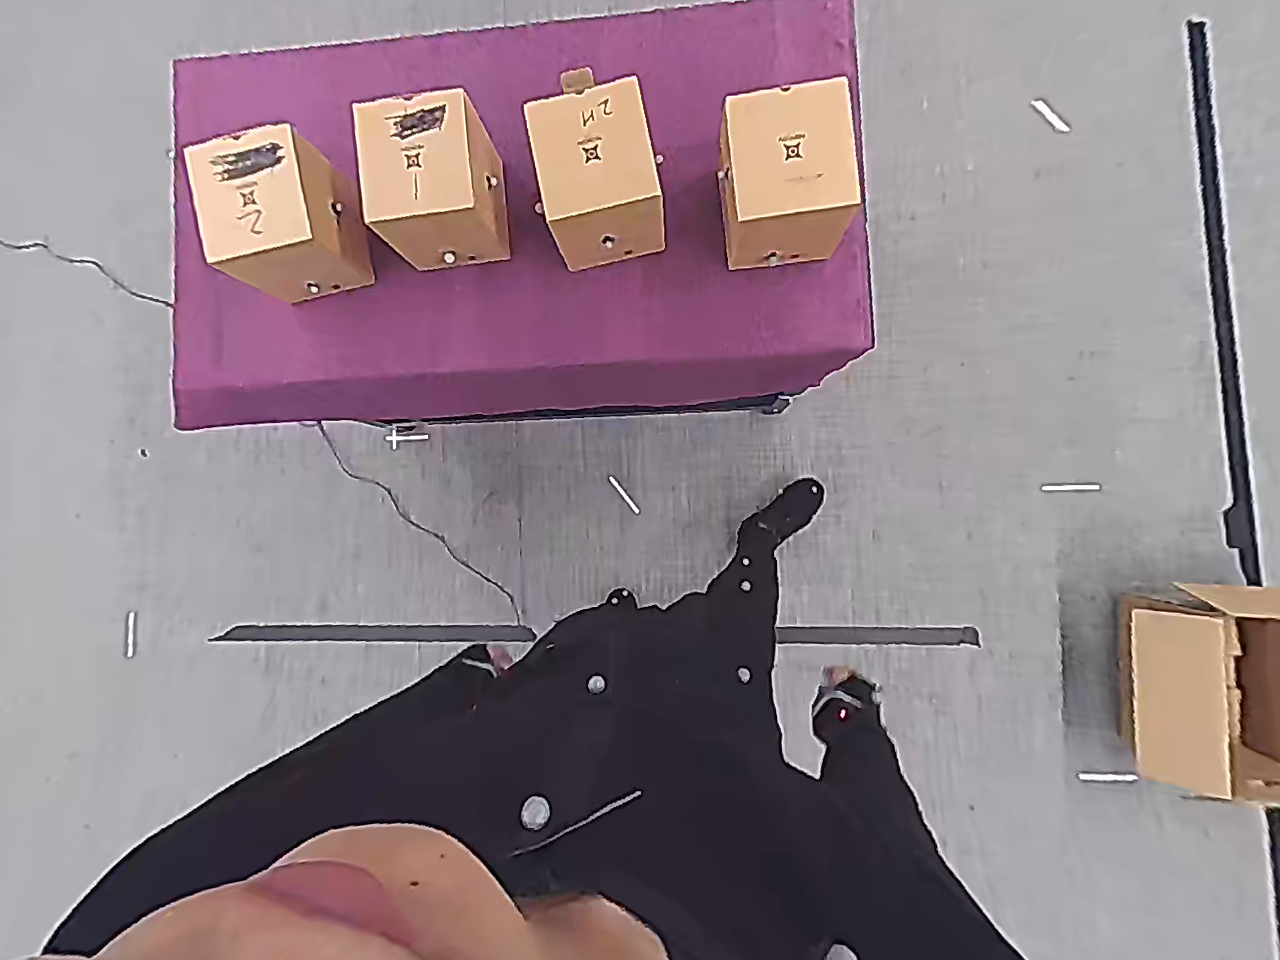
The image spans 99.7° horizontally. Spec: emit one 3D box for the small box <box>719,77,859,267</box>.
[{"bbox_3d":[0.211,-0.448,0.810,0.168,0.176,0.179,-6,87,5],"label":"small box"}]

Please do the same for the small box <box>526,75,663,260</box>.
[{"bbox_3d":[-0.060,-0.460,0.830,0.168,0.176,0.179,-12,87,3],"label":"small box"}]

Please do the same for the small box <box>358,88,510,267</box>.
[{"bbox_3d":[-0.313,-0.462,0.849,0.168,0.176,0.179,-6,88,4],"label":"small box"}]
